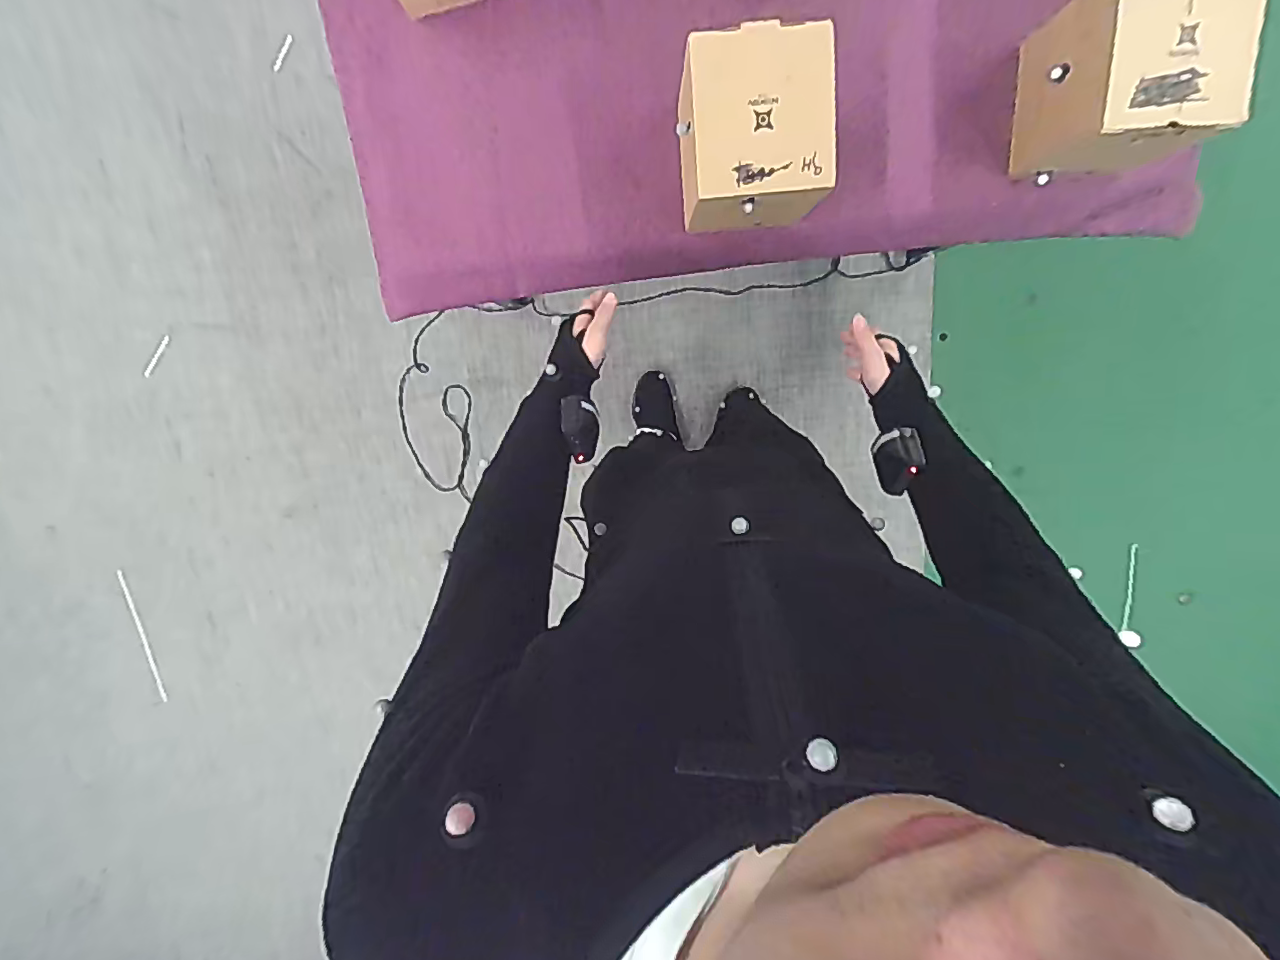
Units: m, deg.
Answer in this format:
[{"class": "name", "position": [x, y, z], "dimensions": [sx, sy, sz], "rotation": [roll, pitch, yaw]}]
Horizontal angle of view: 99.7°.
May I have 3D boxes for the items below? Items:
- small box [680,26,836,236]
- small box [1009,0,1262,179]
[{"class": "small box", "position": [0.143, -0.435, 0.701], "dimensions": [0.168, 0.176, 0.179], "rotation": [-4, 101, 1]}, {"class": "small box", "position": [0.610, -0.502, 0.691], "dimensions": [0.168, 0.176, 0.179], "rotation": [-2, 101, 0]}]
